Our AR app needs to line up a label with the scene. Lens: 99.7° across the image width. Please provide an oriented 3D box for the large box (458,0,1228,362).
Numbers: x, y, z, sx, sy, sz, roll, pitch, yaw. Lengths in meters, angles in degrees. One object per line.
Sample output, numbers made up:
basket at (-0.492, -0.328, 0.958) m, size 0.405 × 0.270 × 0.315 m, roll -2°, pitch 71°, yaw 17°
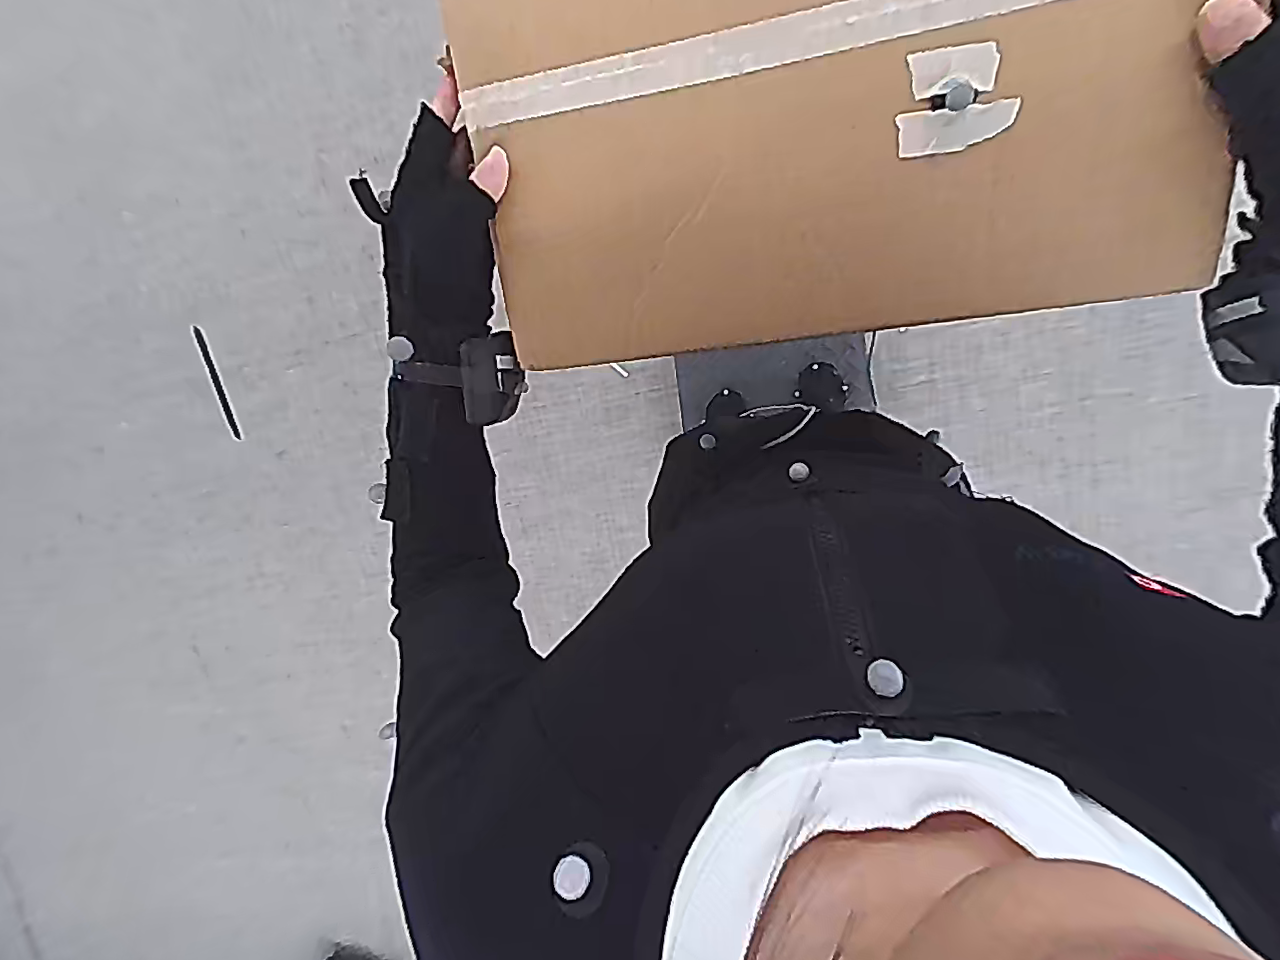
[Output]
large box at (0.114, -0.294, 0.437) m, size 0.408 × 0.320 × 0.320 m, roll -5°, pitch 109°, yaw 10°
